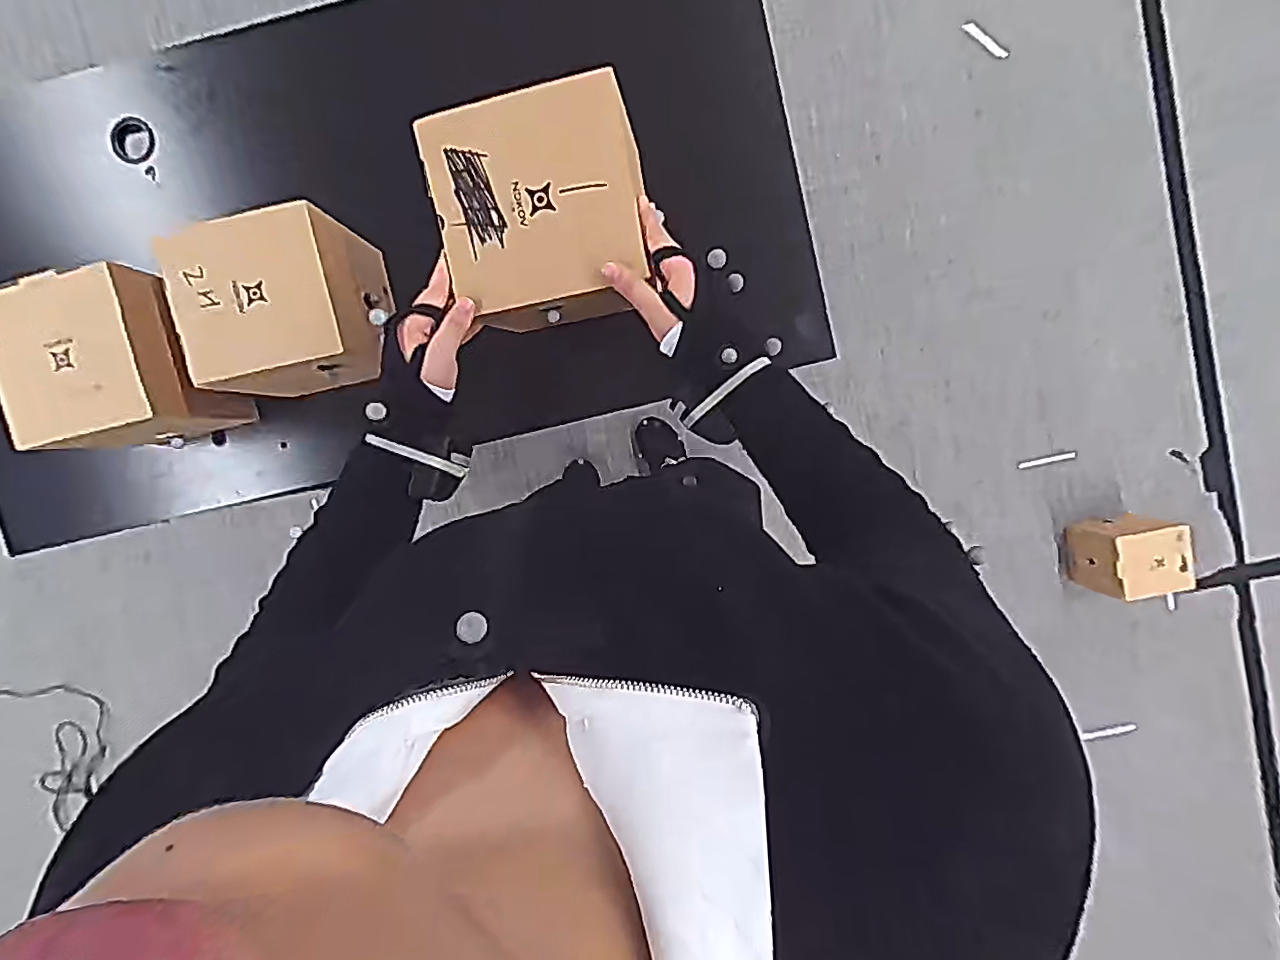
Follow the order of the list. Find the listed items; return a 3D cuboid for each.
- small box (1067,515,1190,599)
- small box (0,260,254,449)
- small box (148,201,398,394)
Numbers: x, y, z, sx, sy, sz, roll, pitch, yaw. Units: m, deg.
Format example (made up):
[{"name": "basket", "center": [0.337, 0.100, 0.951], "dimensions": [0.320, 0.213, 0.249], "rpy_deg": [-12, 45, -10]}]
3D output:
[{"name": "small box", "center": [1.248, 0.193, 1.399], "dimensions": [0.179, 0.176, 0.168], "rpy_deg": [-11, 95, 2]}, {"name": "small box", "center": [-0.627, -0.141, 0.662], "dimensions": [0.168, 0.176, 0.179], "rpy_deg": [-13, 96, 3]}, {"name": "small box", "center": [-0.417, -0.204, 0.653], "dimensions": [0.179, 0.176, 0.168], "rpy_deg": [-12, 94, 2]}]
